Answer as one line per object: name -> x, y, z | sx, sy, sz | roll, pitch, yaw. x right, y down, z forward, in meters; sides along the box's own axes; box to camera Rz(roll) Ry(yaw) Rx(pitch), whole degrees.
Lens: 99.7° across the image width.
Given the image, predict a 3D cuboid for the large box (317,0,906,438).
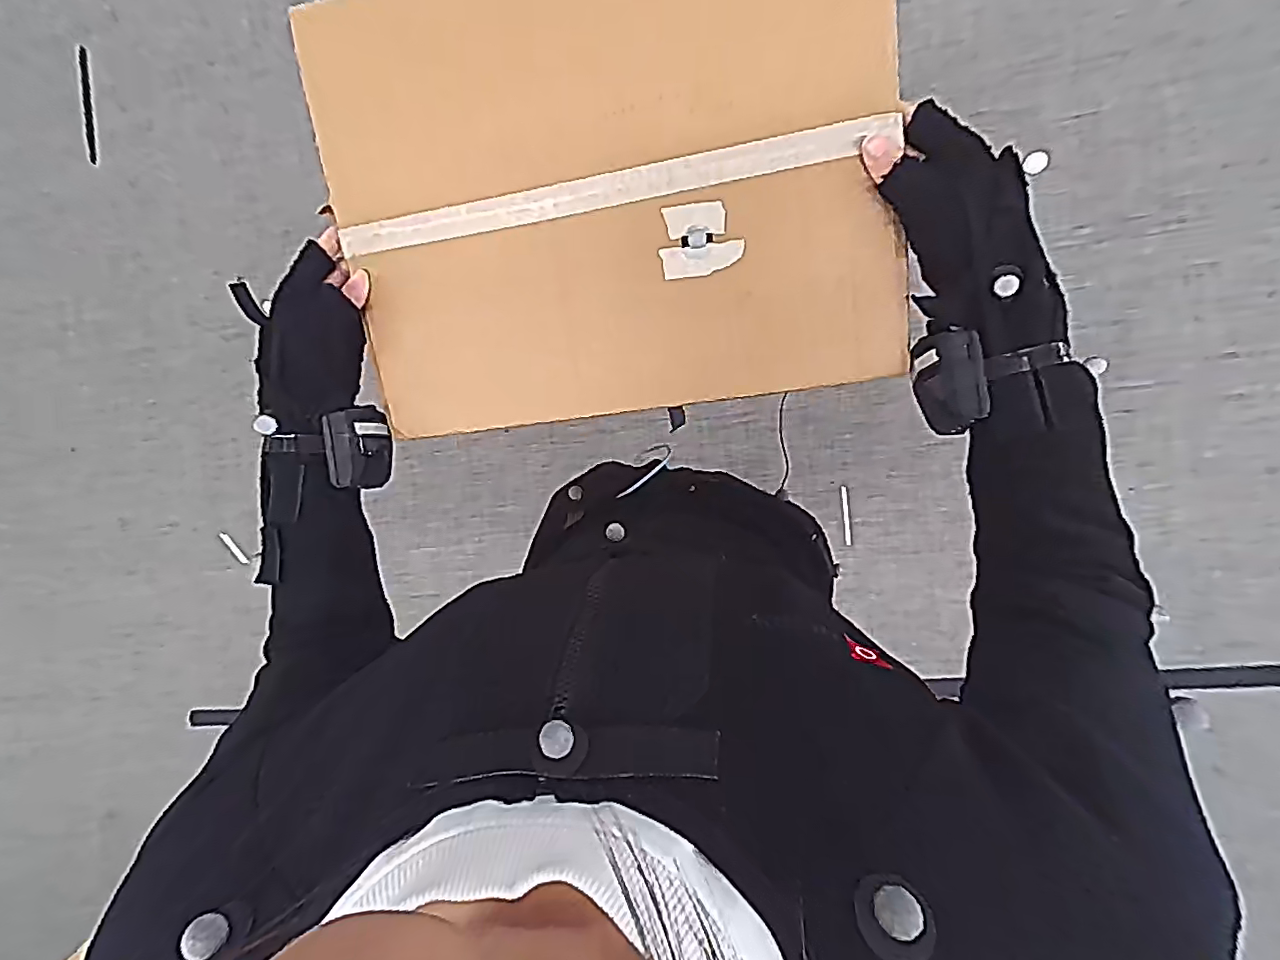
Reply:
large box -> -0.005, -0.242, 0.540 | 0.408, 0.320, 0.320 | -7, 103, 9
